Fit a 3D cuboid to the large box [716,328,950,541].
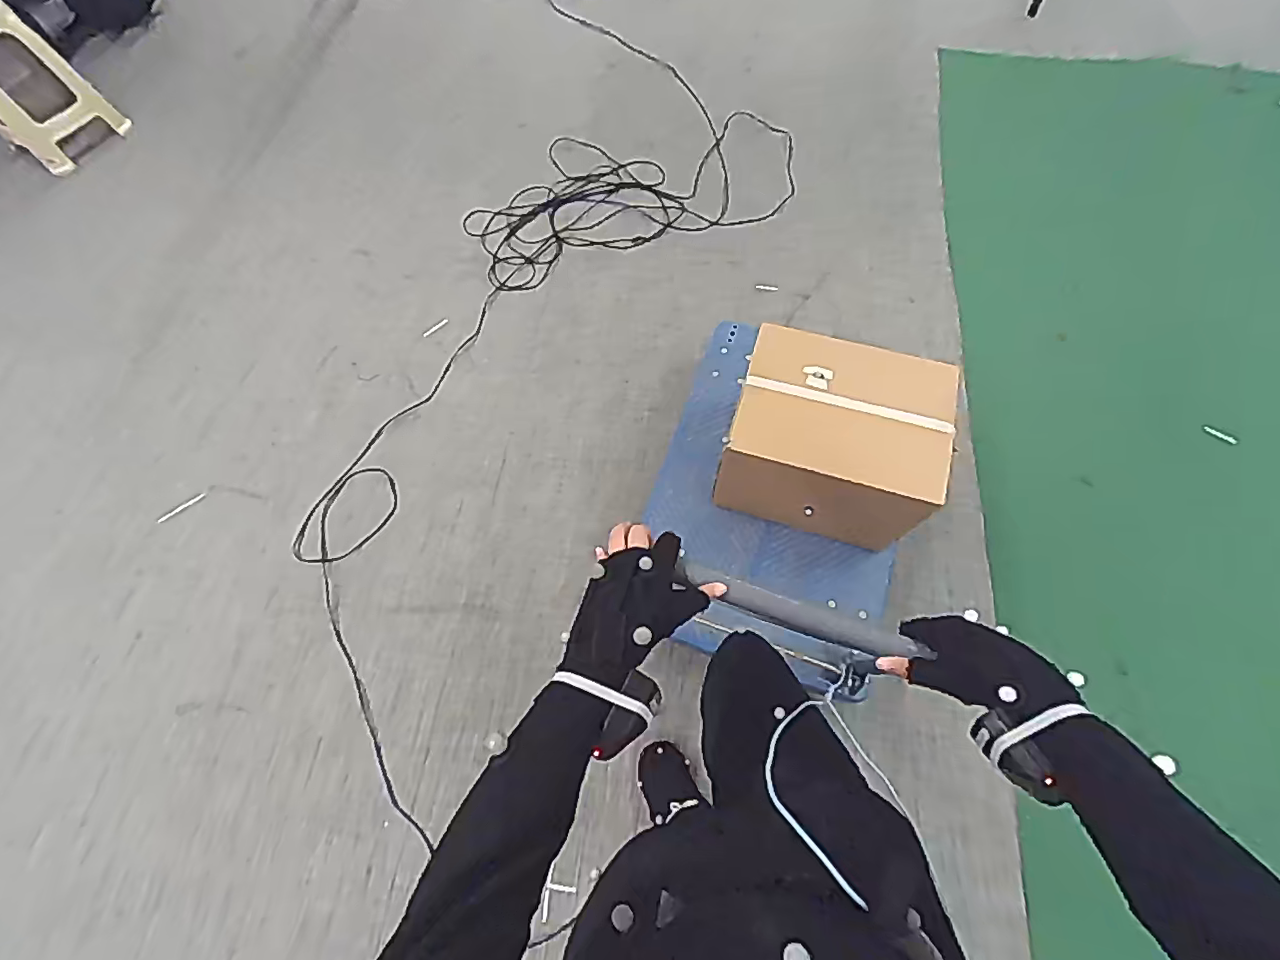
[{"bbox_3d":[0.407,-0.088,1.206,0.408,0.320,0.320,14,69,9],"label":"large box"}]
